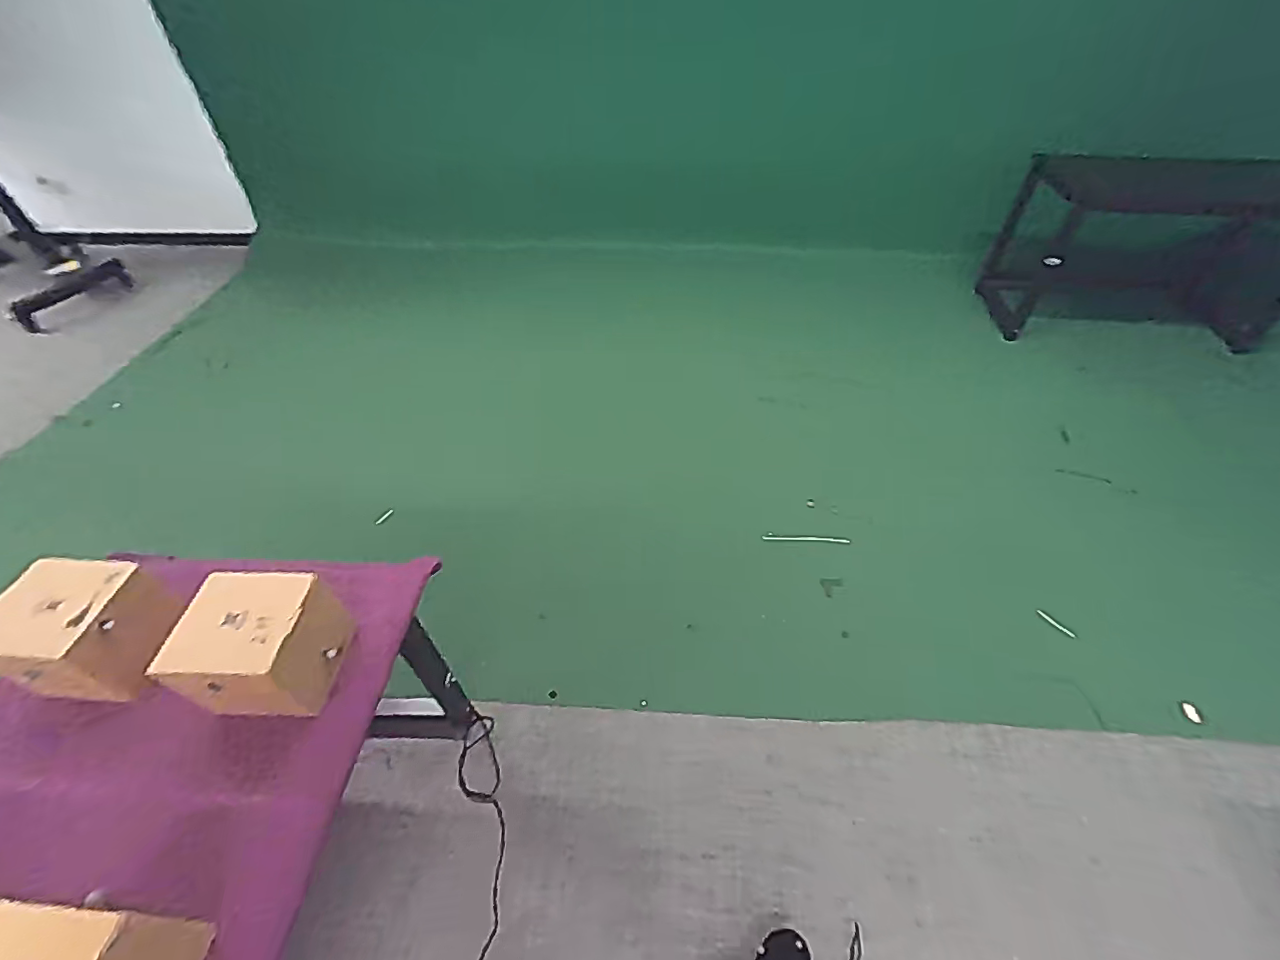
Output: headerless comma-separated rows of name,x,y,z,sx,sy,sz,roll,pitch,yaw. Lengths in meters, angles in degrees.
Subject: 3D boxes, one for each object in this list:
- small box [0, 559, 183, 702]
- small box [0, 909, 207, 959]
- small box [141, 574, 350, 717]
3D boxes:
small box,-0.906,0.246,0.874,0.179,0.176,0.168,3,49,2
small box,-0.634,0.578,0.578,0.179,0.176,0.168,3,48,3
small box,-0.602,0.265,0.855,0.179,0.176,0.168,2,49,1
